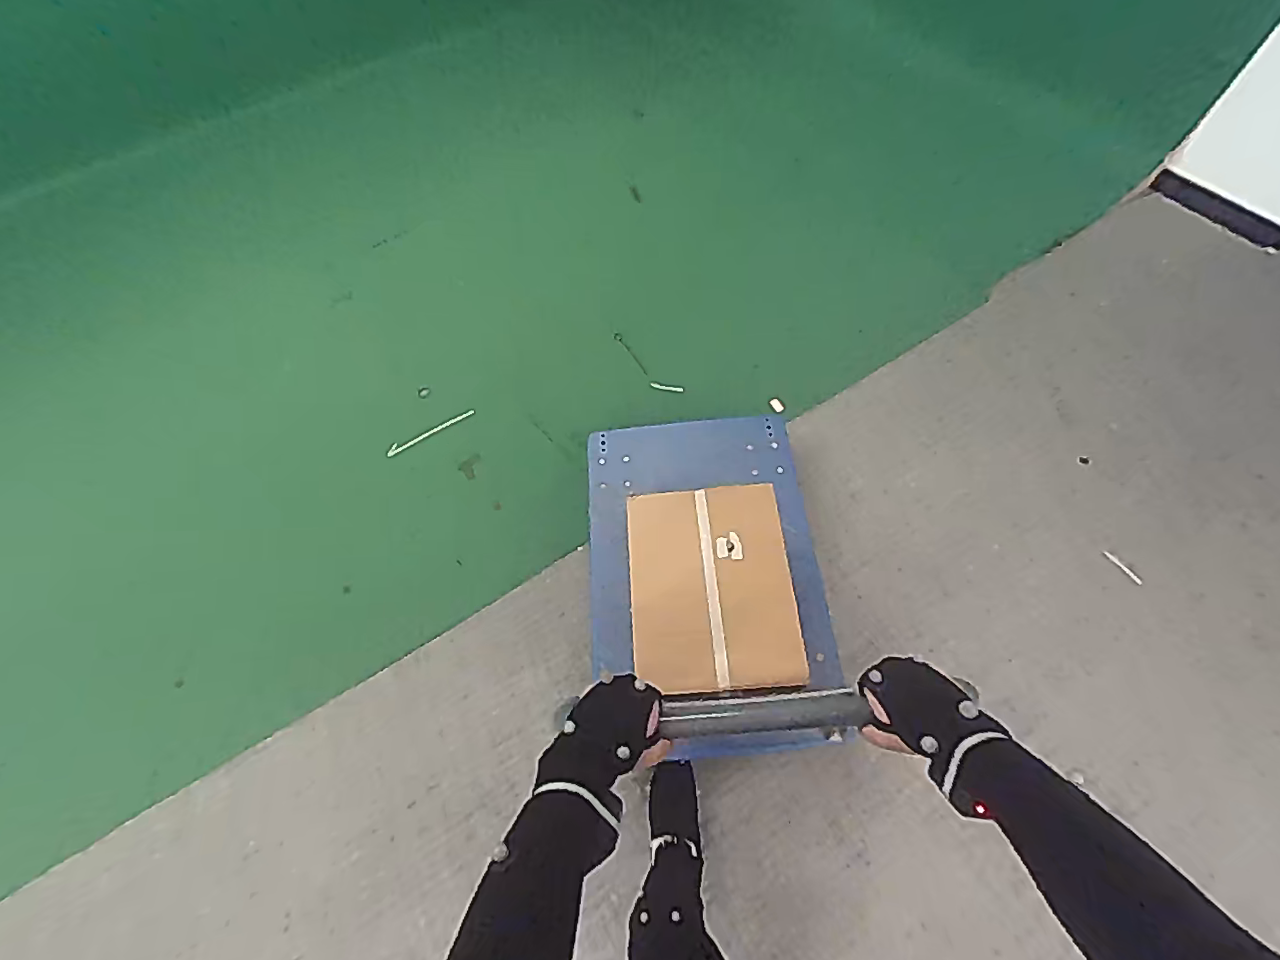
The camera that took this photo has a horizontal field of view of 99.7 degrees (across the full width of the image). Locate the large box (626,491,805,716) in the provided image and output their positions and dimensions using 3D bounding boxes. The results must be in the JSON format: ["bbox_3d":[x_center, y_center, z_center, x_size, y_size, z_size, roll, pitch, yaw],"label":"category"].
[{"bbox_3d":[0.149,0.283,1.203,0.320,0.320,0.408,-5,61,3],"label":"large box"}]
